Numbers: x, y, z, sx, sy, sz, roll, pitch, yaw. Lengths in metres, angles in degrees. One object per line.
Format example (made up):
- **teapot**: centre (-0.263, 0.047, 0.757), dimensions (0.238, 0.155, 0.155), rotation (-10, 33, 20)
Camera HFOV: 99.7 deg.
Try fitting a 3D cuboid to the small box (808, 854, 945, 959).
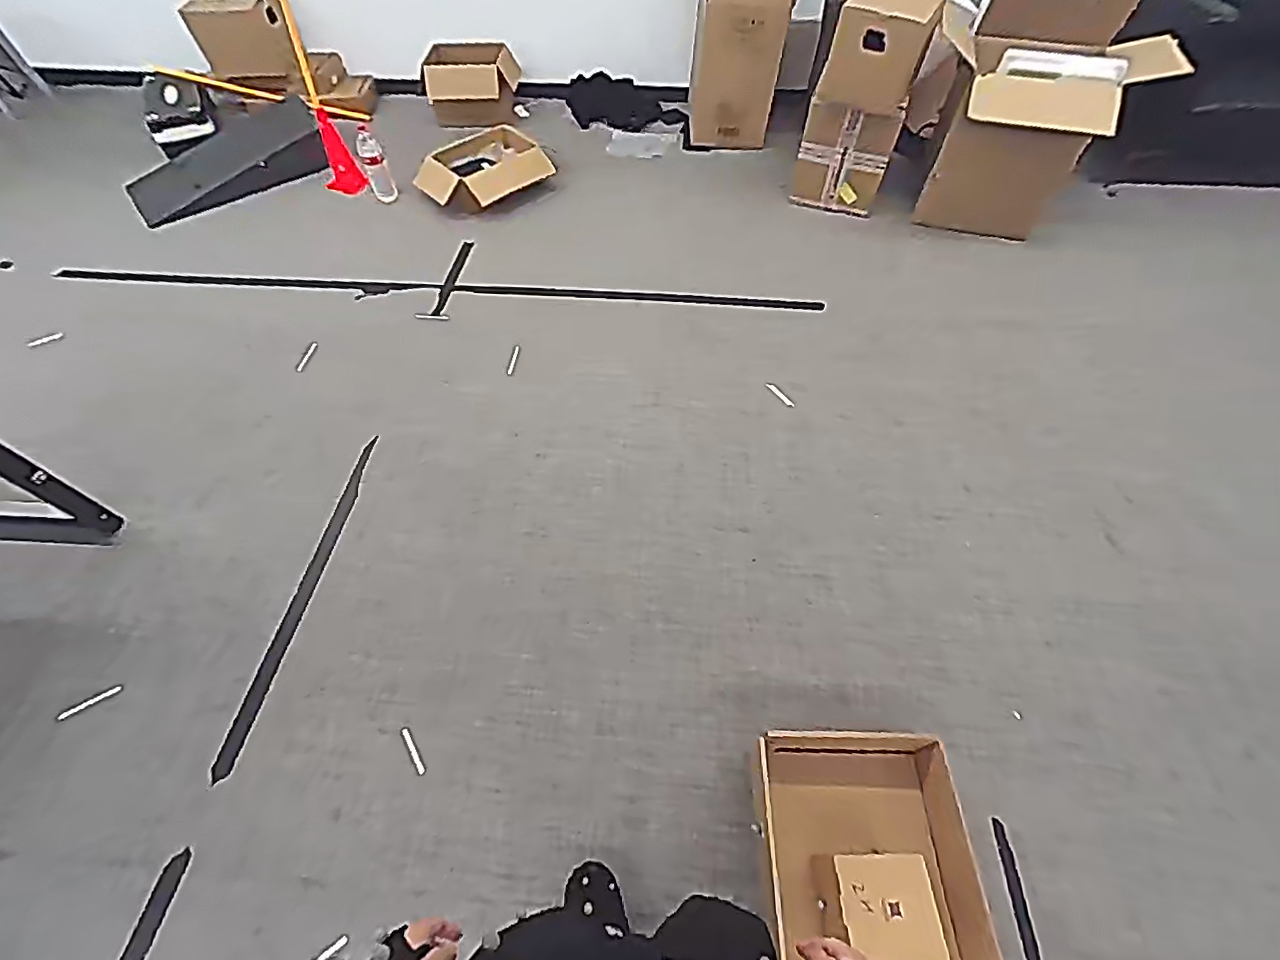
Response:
- **small box**: centre (0.449, 0.832, 1.054), dimensions (0.179, 0.176, 0.168), rotation (-1, 55, -1)
